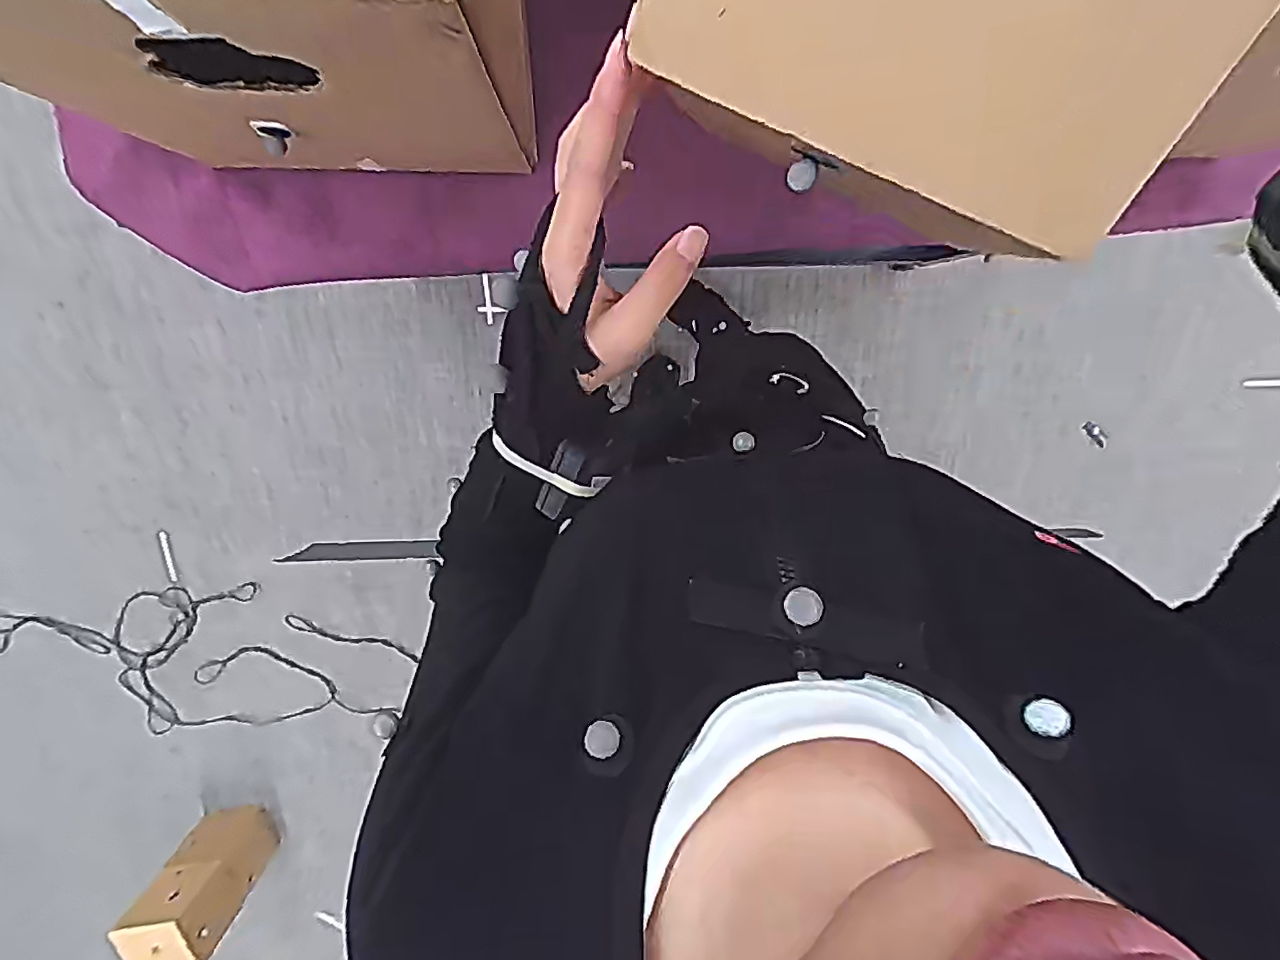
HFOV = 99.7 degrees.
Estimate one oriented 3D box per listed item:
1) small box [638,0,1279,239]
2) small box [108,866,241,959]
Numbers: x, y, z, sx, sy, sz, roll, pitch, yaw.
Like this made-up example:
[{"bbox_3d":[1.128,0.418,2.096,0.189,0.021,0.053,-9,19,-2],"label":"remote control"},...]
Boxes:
[{"bbox_3d":[0.126,-0.209,0.208,0.179,0.176,0.168,27,119,3],"label":"small box"},{"bbox_3d":[-1.191,1.139,1.399,0.168,0.176,0.179,-9,107,0],"label":"small box"}]
